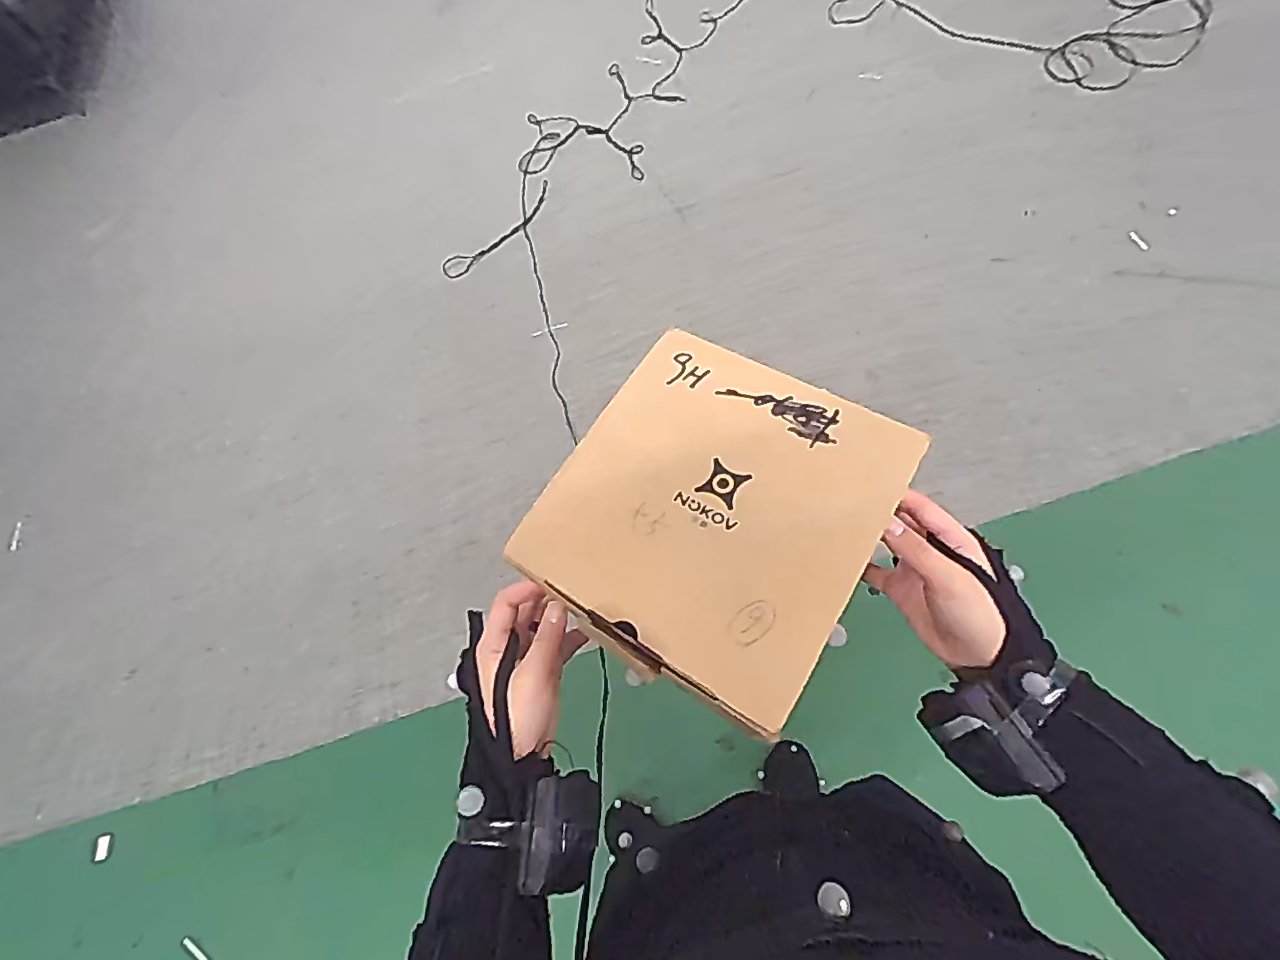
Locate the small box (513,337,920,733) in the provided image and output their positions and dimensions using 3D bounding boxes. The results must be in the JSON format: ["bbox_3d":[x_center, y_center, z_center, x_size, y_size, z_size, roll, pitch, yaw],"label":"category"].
[{"bbox_3d":[0.052,0.045,0.368,0.168,0.176,0.179,29,74,19],"label":"small box"}]
